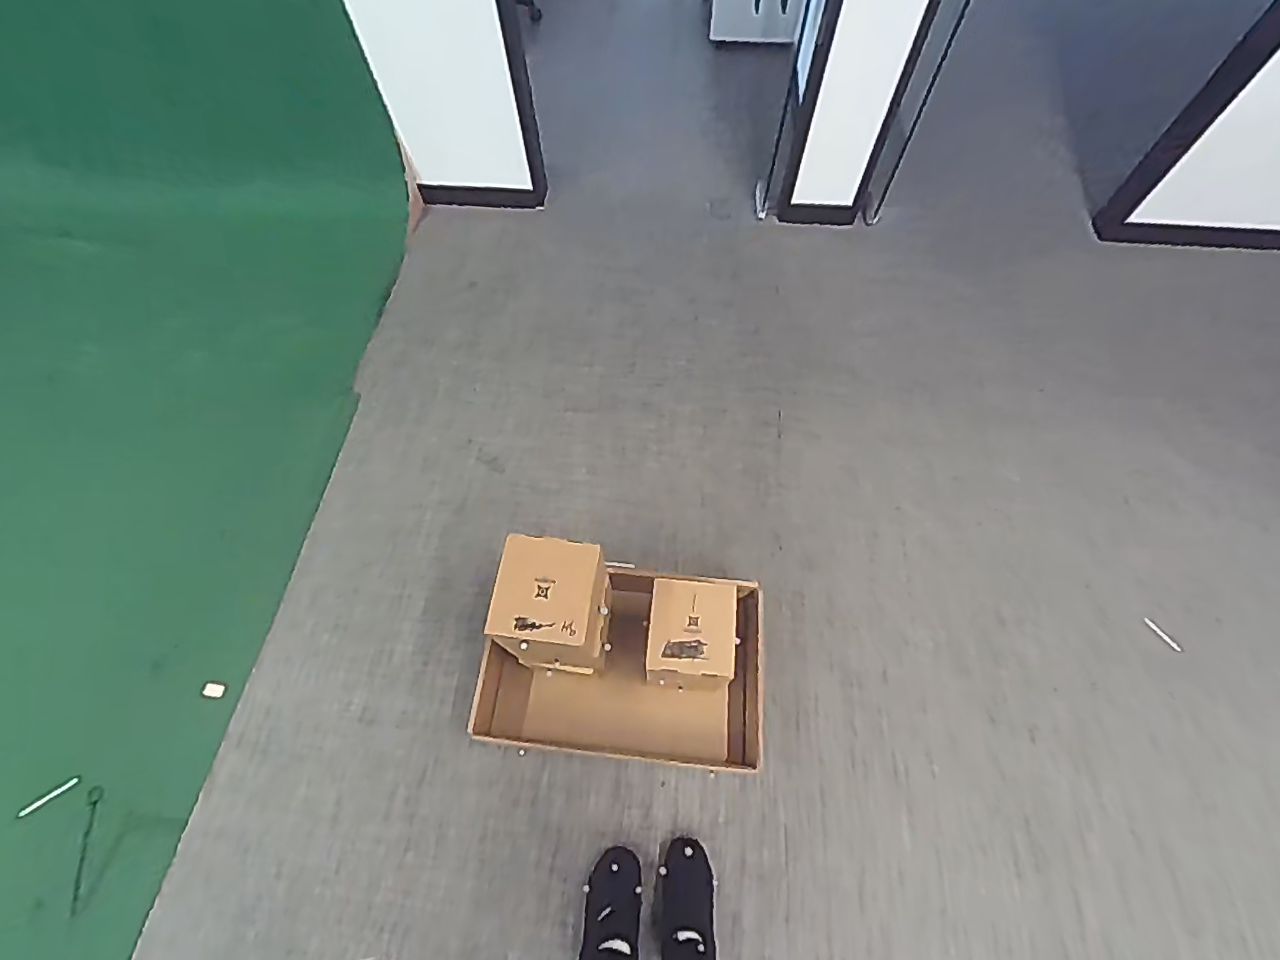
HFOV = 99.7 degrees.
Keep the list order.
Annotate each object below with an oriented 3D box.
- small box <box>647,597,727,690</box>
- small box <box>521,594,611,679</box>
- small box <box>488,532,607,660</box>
[{"bbox_3d":[0.108,0.384,1.252,0.168,0.176,0.179,5,65,4],"label":"small box"},{"bbox_3d":[-0.164,0.359,1.269,0.168,0.176,0.179,9,64,4],"label":"small box"},{"bbox_3d":[-0.154,0.213,0.974,0.168,0.176,0.179,7,64,4],"label":"small box"}]
